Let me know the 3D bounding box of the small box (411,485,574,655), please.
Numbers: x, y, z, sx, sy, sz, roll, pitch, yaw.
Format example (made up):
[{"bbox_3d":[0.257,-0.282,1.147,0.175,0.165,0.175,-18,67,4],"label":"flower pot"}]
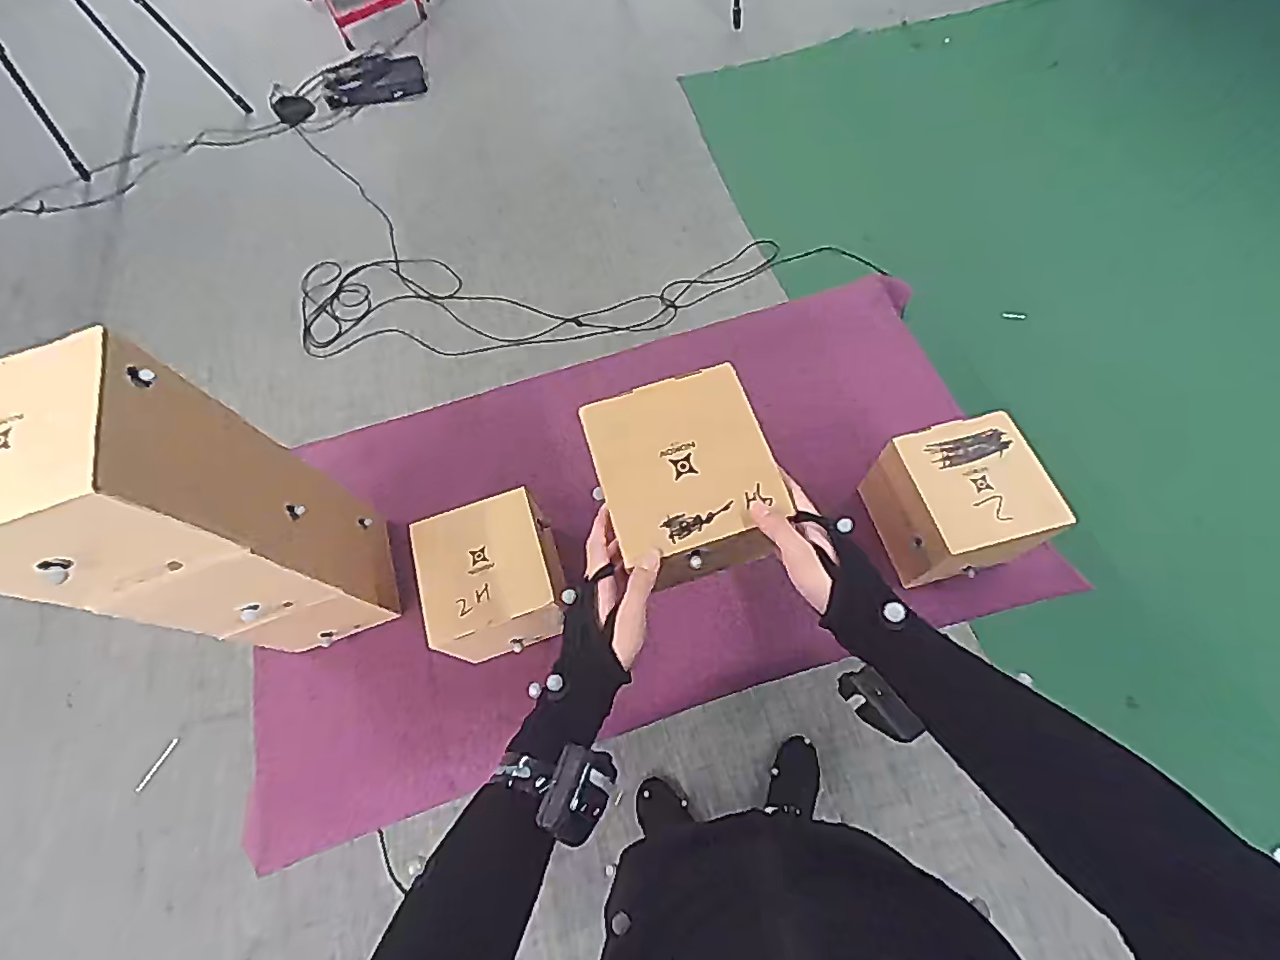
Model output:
[{"bbox_3d":[-0.206,0.136,0.780,0.168,0.176,0.179,-18,66,-4],"label":"small box"}]

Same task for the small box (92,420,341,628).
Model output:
[{"bbox_3d":[-0.496,0.061,0.656,0.168,0.176,0.179,-20,66,-4],"label":"small box"}]

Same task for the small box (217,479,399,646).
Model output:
[{"bbox_3d":[-0.485,0.129,0.805,0.168,0.176,0.179,-20,67,-4],"label":"small box"}]

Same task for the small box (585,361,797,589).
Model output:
[{"bbox_3d":[0.048,0.005,0.594,0.168,0.176,0.179,-17,70,-1],"label":"small box"}]

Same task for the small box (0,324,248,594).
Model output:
[{"bbox_3d":[-0.508,-0.005,0.509,0.168,0.176,0.179,-21,66,-4],"label":"small box"}]
